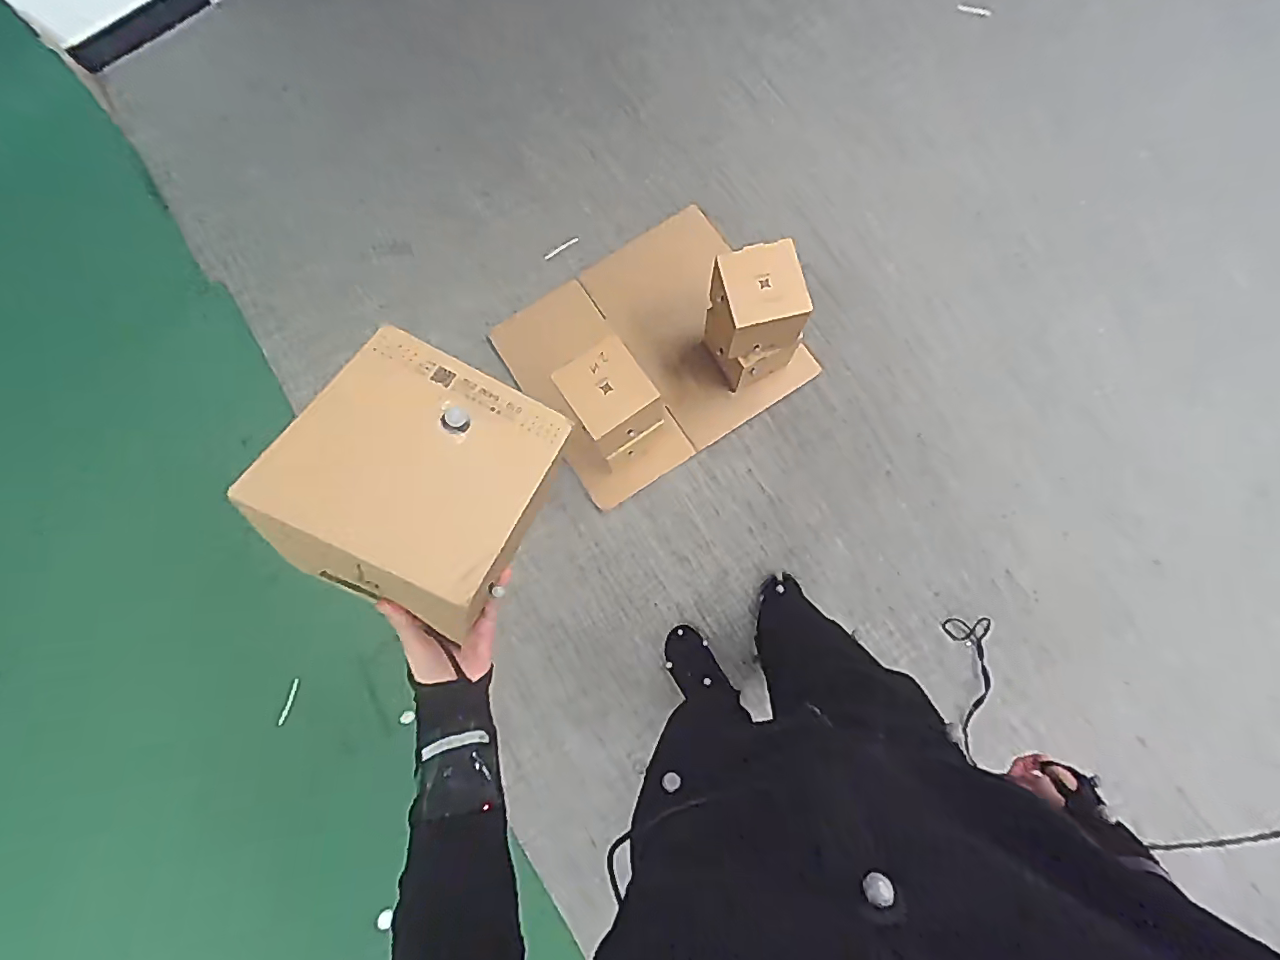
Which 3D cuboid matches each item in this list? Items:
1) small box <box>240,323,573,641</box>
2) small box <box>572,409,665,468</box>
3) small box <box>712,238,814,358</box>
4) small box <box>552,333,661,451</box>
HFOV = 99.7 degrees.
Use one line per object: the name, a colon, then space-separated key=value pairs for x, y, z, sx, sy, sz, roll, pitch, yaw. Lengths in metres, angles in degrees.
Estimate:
small box: x=-0.172 y=0.009 z=0.453 sx=0.168 sy=0.179 sz=0.176 roll=28 pitch=58 yaw=-5
small box: x=-0.049 y=-0.146 z=1.339 sx=0.168 sy=0.176 sz=0.179 roll=-35 pitch=79 yaw=-3
small box: x=0.262 y=-0.394 z=1.196 sx=0.168 sy=0.176 sz=0.179 roll=-12 pitch=79 yaw=0
small box: x=-0.063 y=-0.179 z=1.178 sx=0.168 sy=0.176 sz=0.179 roll=-34 pitch=79 yaw=-4
